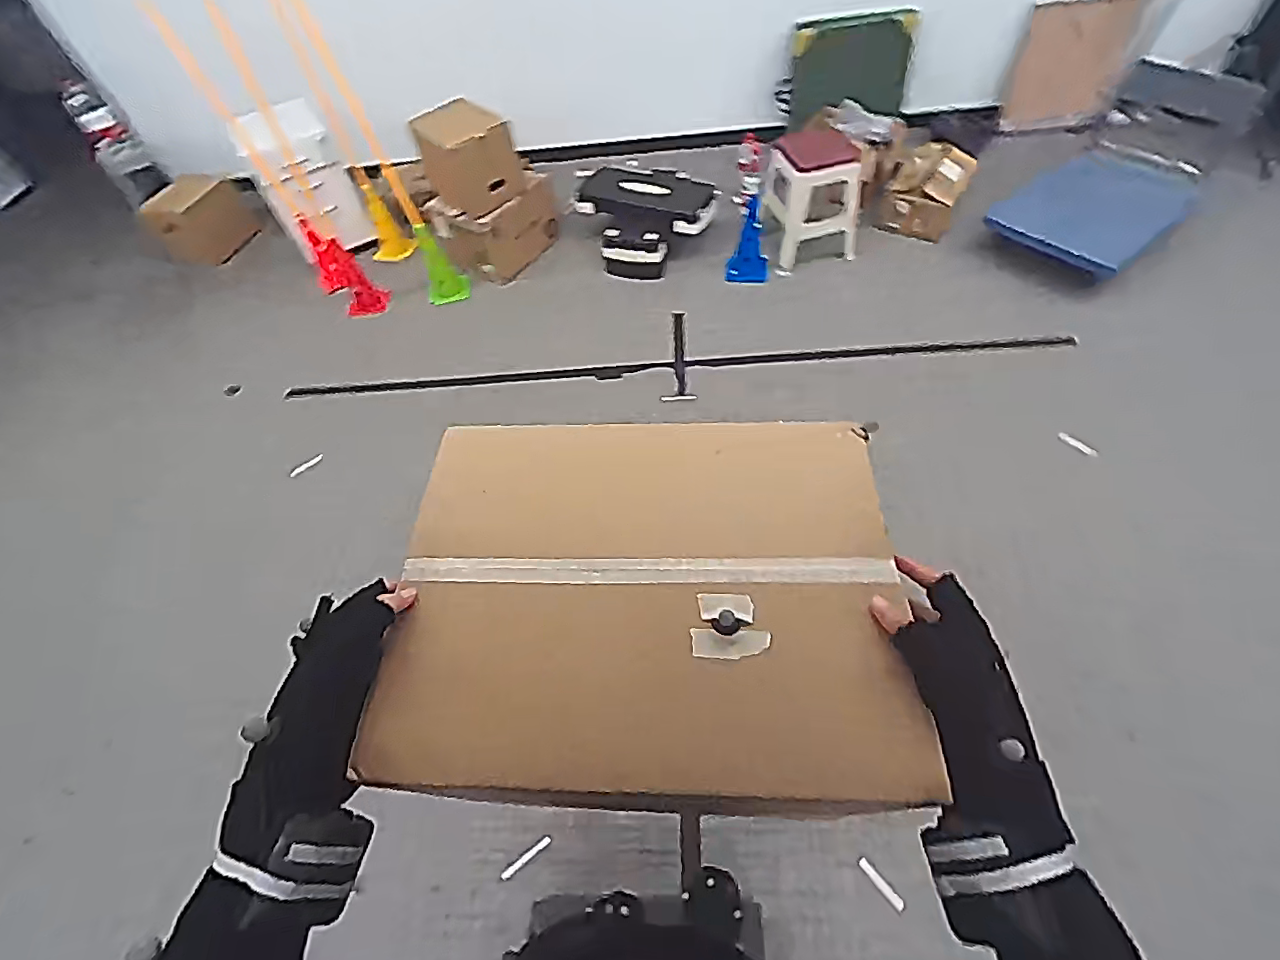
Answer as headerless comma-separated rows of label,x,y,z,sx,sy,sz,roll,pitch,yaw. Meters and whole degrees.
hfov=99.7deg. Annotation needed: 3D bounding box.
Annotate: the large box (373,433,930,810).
large box,0.014,0.165,0.584,0.408,0.320,0.320,0,57,4
